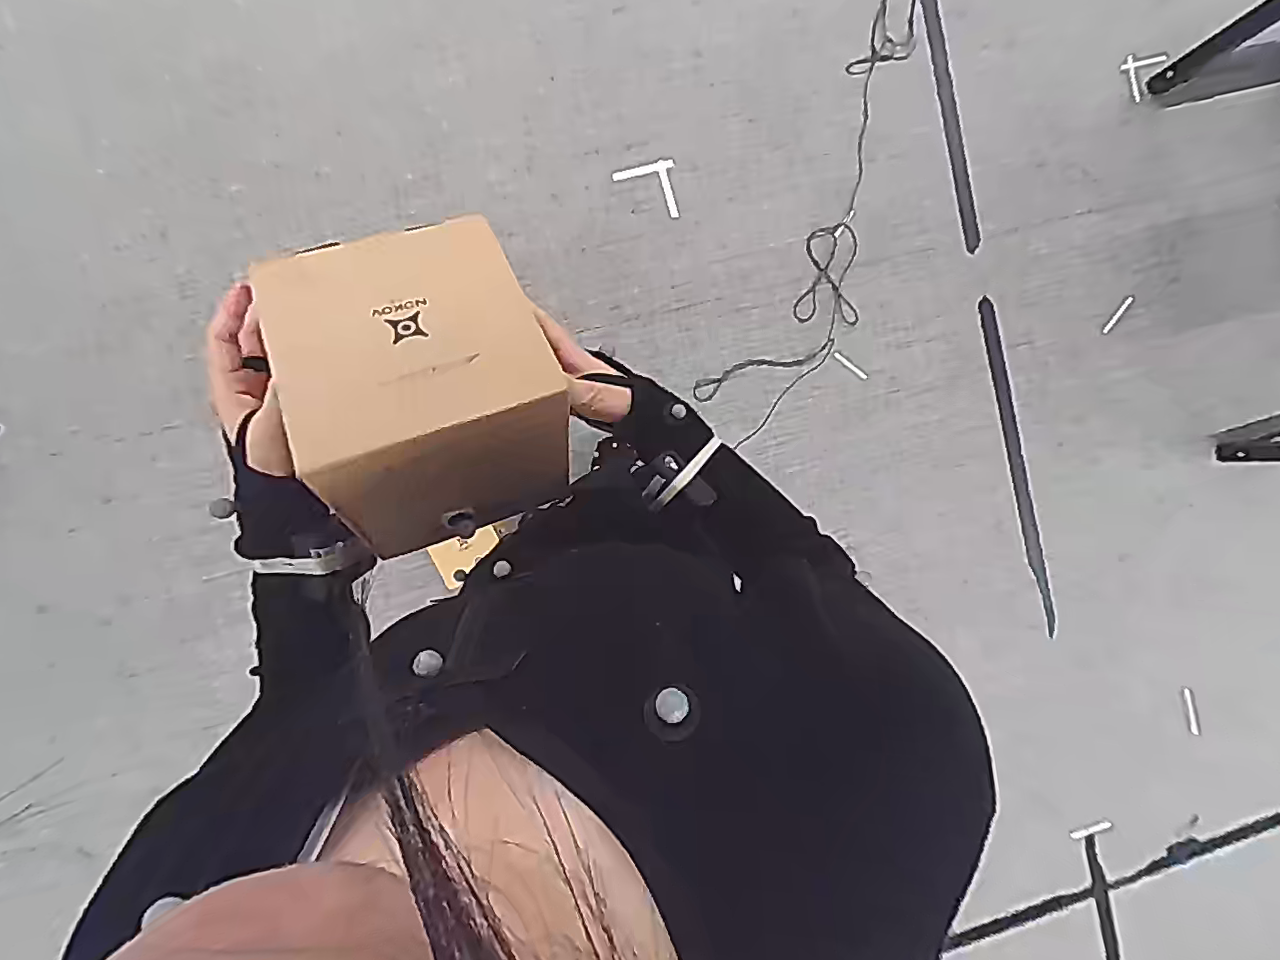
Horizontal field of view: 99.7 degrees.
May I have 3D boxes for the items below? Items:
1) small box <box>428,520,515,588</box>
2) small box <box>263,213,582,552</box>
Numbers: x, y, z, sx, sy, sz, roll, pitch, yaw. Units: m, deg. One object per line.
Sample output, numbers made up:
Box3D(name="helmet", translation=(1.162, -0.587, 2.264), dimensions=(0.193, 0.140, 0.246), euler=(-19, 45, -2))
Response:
Box3D(name="small box", translation=(-0.436, 0.149, 1.390), dimensions=(0.168, 0.176, 0.179), euler=(-27, 96, -5))
Box3D(name="small box", translation=(-0.156, -0.070, 0.427), dimensions=(0.168, 0.176, 0.179), euler=(-21, 68, -17))
